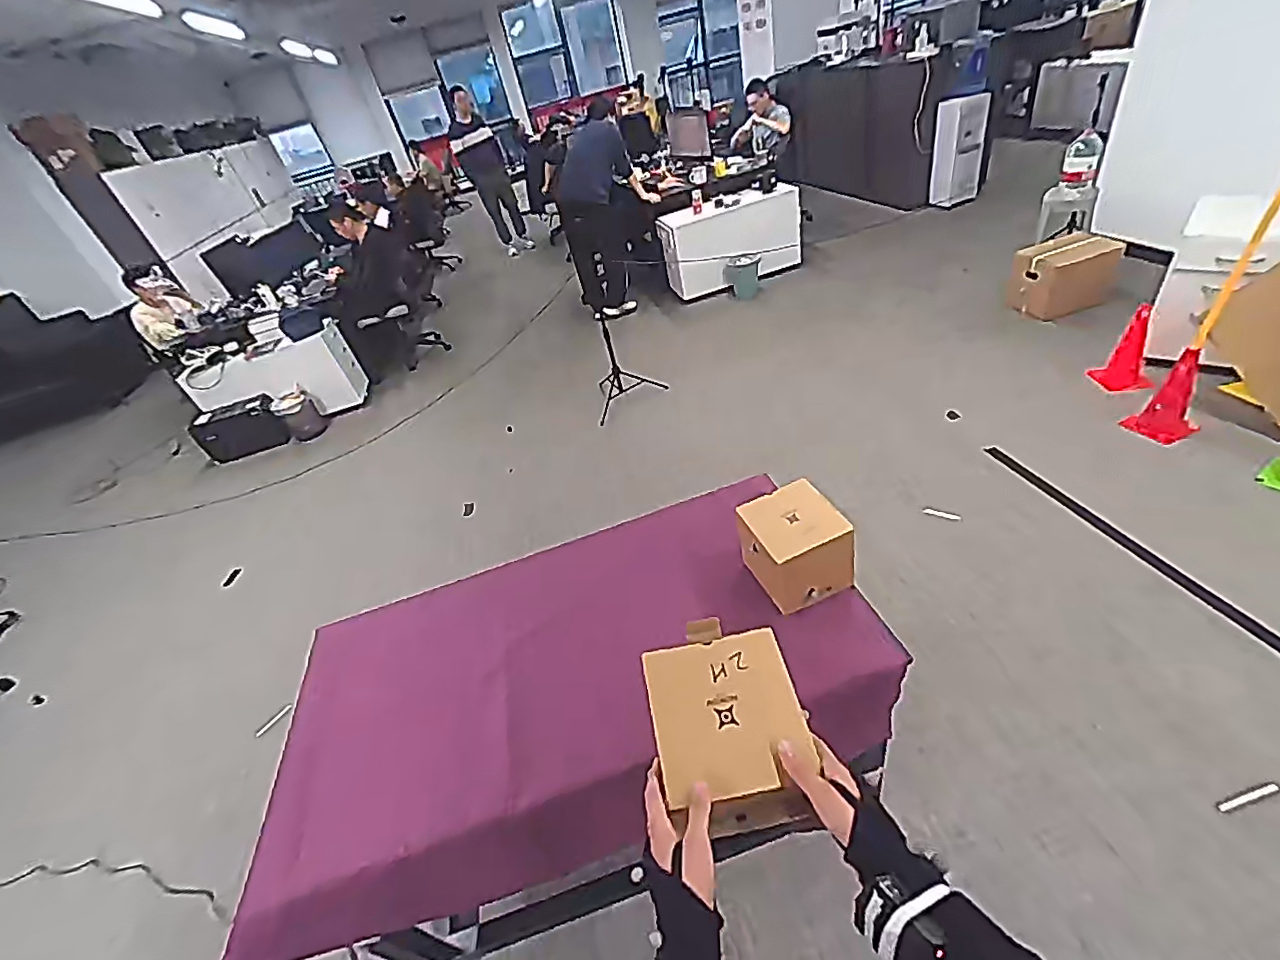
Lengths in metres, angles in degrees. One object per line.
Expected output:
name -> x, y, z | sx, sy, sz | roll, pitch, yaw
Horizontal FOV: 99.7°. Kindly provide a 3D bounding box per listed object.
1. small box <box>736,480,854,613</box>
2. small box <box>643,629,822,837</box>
small box -> 0.316, 0.136, 1.109 | 0.168, 0.176, 0.179 | -23, 38, -6
small box -> 0.104, 0.313, 0.660 | 0.168, 0.176, 0.179 | -10, 45, -2
